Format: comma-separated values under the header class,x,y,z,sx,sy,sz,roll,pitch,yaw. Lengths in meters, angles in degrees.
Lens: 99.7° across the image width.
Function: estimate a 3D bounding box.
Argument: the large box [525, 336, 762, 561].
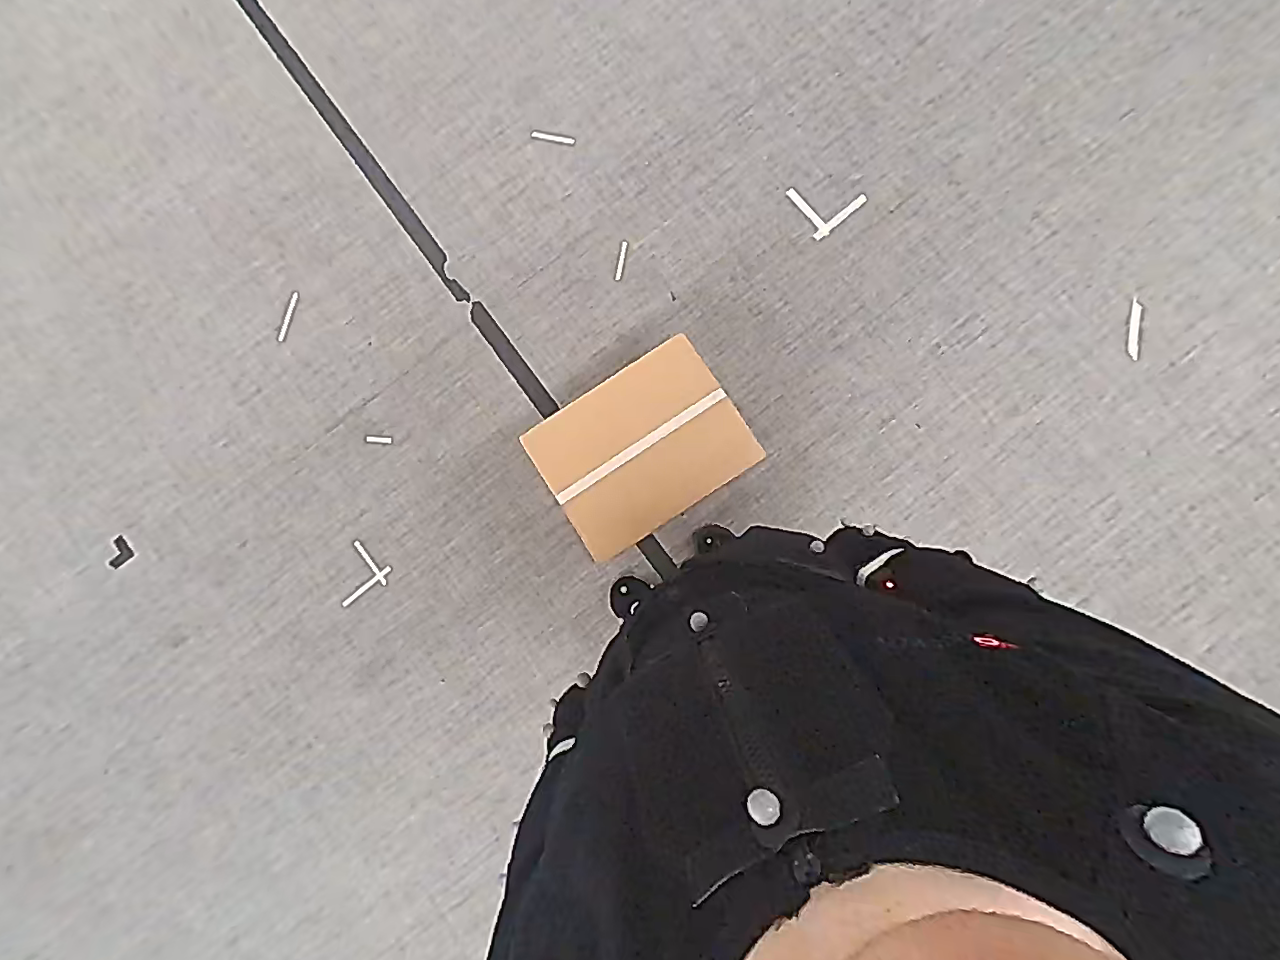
class,x,y,z,sx,sy,sz,roll,pitch,yaw
large box,0.010,-0.054,1.257,0.408,0.320,0.320,-33,86,-1
